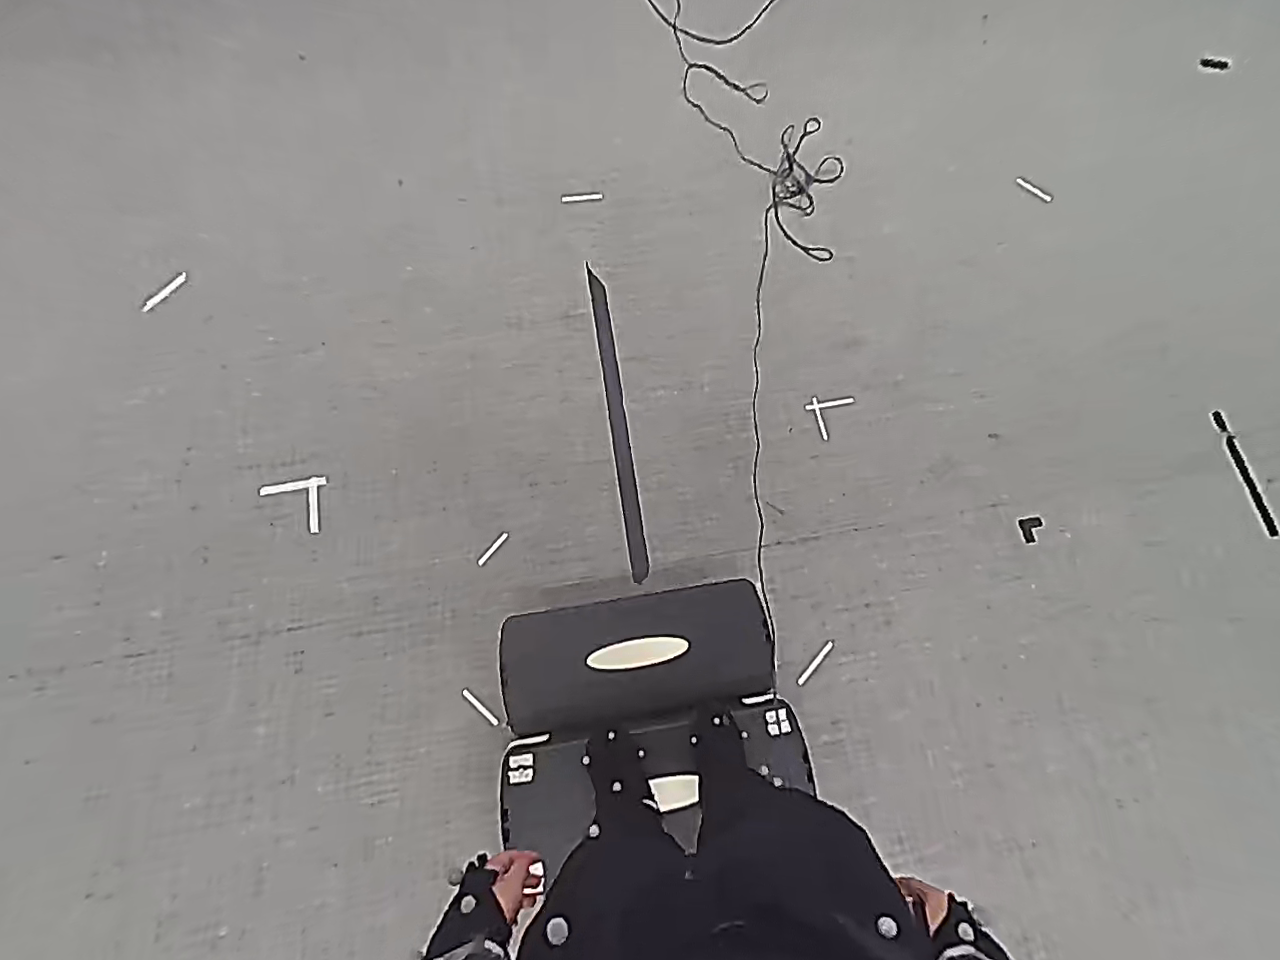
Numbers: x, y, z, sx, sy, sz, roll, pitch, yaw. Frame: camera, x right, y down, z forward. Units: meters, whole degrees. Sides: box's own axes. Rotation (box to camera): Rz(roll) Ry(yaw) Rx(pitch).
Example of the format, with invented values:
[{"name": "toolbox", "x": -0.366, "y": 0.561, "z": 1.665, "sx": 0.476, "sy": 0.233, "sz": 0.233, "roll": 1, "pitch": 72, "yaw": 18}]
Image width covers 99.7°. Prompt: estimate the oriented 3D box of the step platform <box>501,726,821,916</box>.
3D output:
[{"name": "step platform", "x": 0.043, "y": 0.736, "z": 1.197, "sx": 0.684, "sy": 0.204, "sz": 0.286, "roll": -5, "pitch": 70, "yaw": -3}]
